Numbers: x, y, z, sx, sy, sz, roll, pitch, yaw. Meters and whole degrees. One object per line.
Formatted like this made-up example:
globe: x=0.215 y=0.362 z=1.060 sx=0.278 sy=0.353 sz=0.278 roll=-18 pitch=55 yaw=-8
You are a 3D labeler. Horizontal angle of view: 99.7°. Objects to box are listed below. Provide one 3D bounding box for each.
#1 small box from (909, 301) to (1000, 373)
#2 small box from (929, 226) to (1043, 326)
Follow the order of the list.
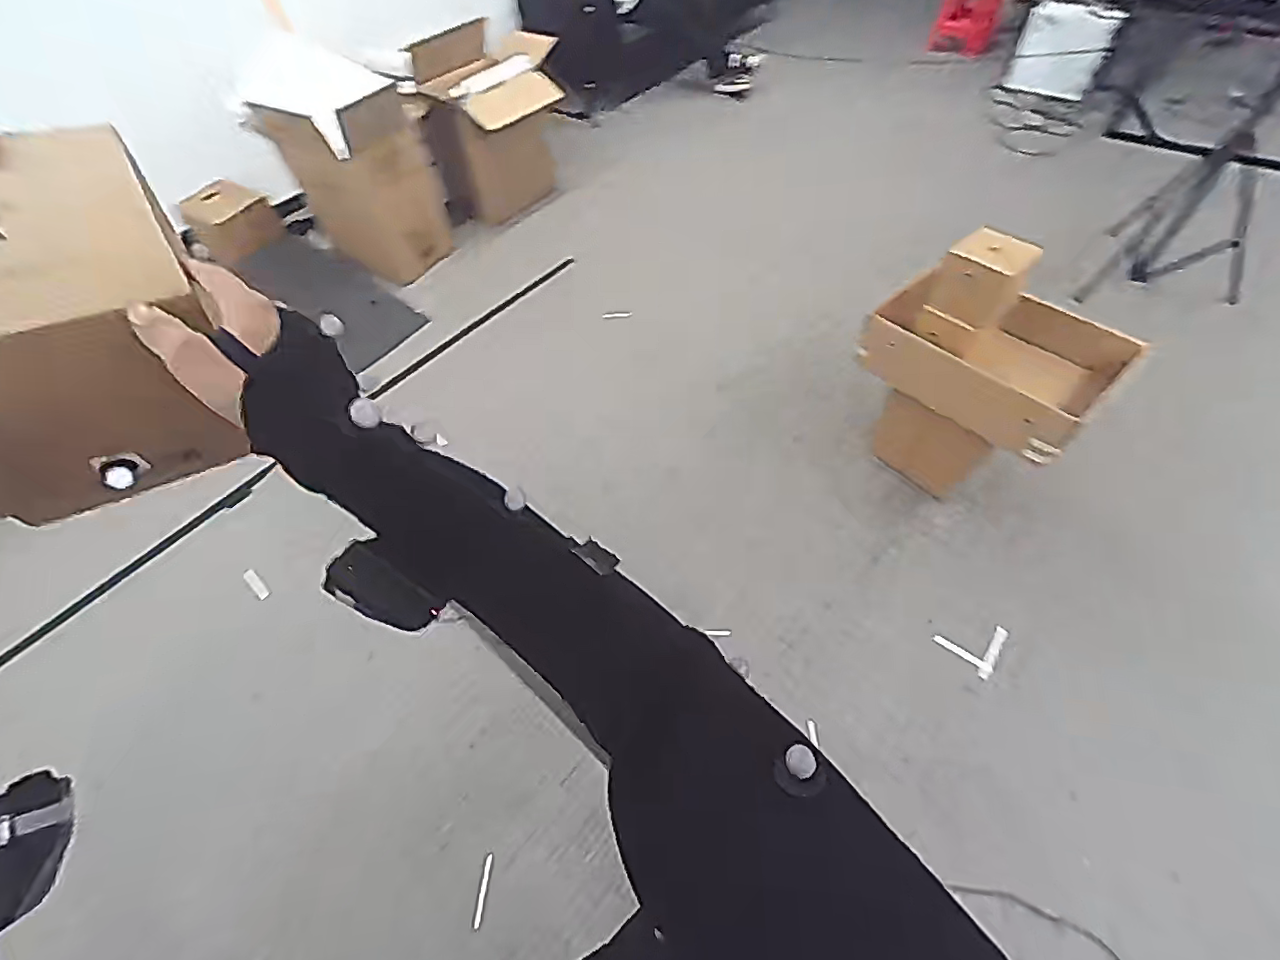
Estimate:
small box: x=0.926 y=-0.448 z=1.593 sx=0.179 sy=0.176 sz=0.168 roll=-37 pitch=60 yaw=-21
small box: x=0.923 y=-0.548 z=1.462 sx=0.168 sy=0.176 sz=0.179 roll=-36 pitch=59 yaw=-20
